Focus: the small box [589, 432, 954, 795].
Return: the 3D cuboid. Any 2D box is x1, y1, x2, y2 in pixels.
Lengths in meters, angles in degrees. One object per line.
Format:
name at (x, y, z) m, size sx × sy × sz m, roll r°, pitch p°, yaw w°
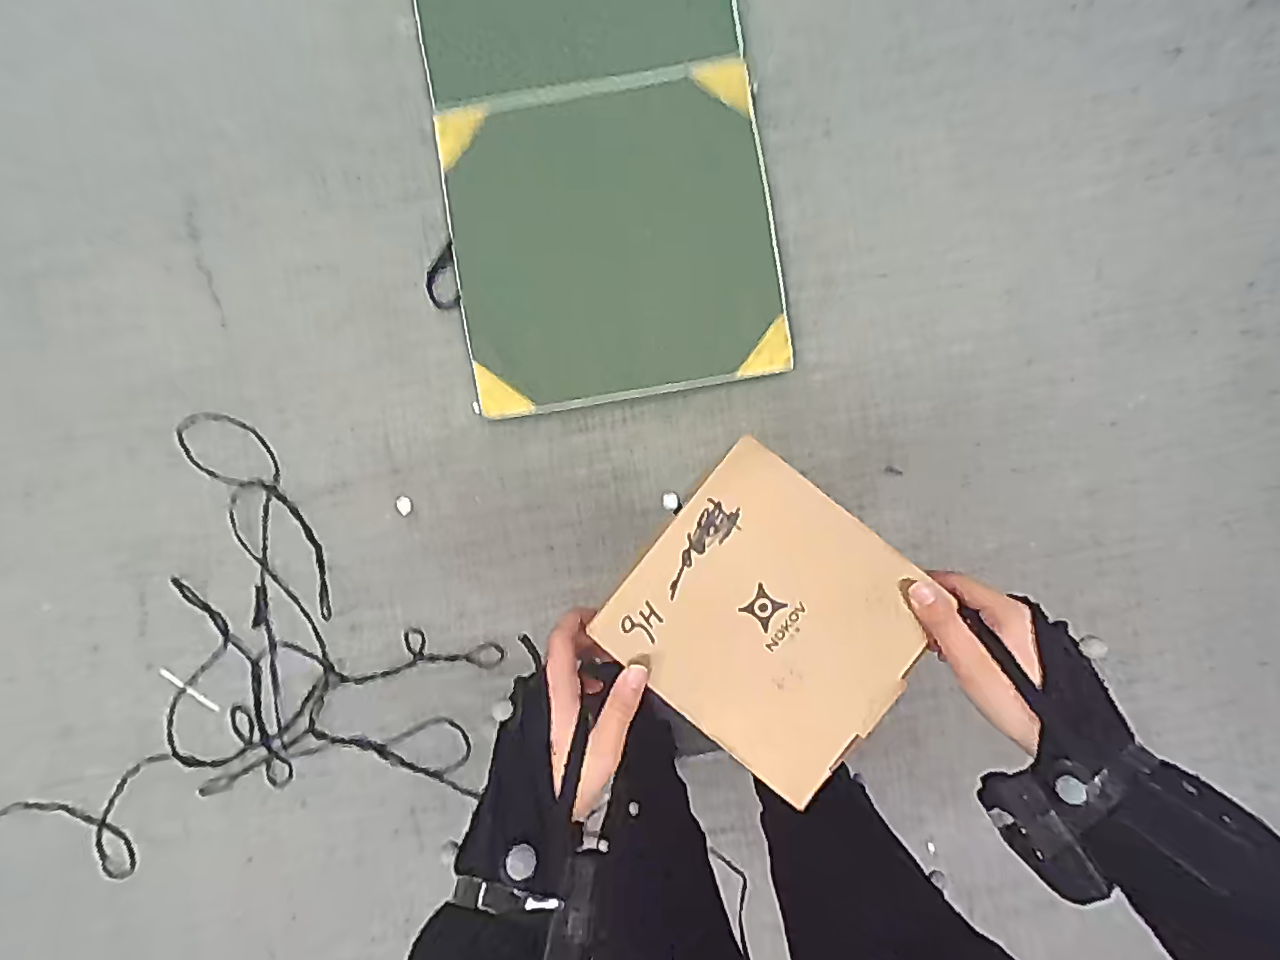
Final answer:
small box at (0.085, 0.086, 0.422) m, size 0.179 × 0.176 × 0.168 m, roll 39°, pitch 87°, yaw 3°
